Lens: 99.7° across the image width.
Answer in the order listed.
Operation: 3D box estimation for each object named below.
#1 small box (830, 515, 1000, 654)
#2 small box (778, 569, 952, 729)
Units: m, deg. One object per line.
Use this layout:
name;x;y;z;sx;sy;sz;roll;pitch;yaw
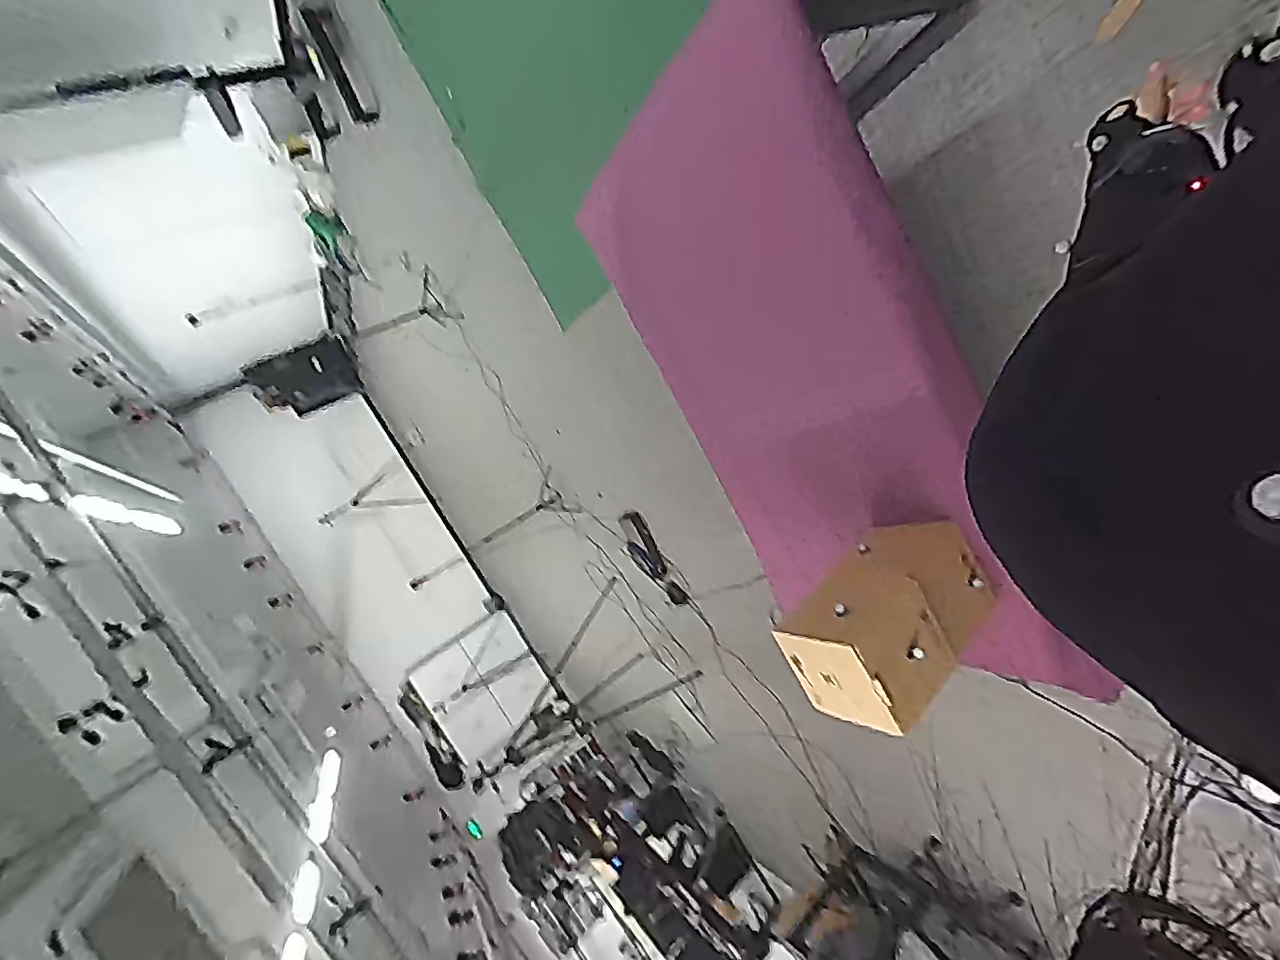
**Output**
small box;0.481;0.177;0.950;0.168;0.176;0.179;59;152;-6
small box;0.364;0.256;0.867;0.168;0.176;0.179;60;152;-7
